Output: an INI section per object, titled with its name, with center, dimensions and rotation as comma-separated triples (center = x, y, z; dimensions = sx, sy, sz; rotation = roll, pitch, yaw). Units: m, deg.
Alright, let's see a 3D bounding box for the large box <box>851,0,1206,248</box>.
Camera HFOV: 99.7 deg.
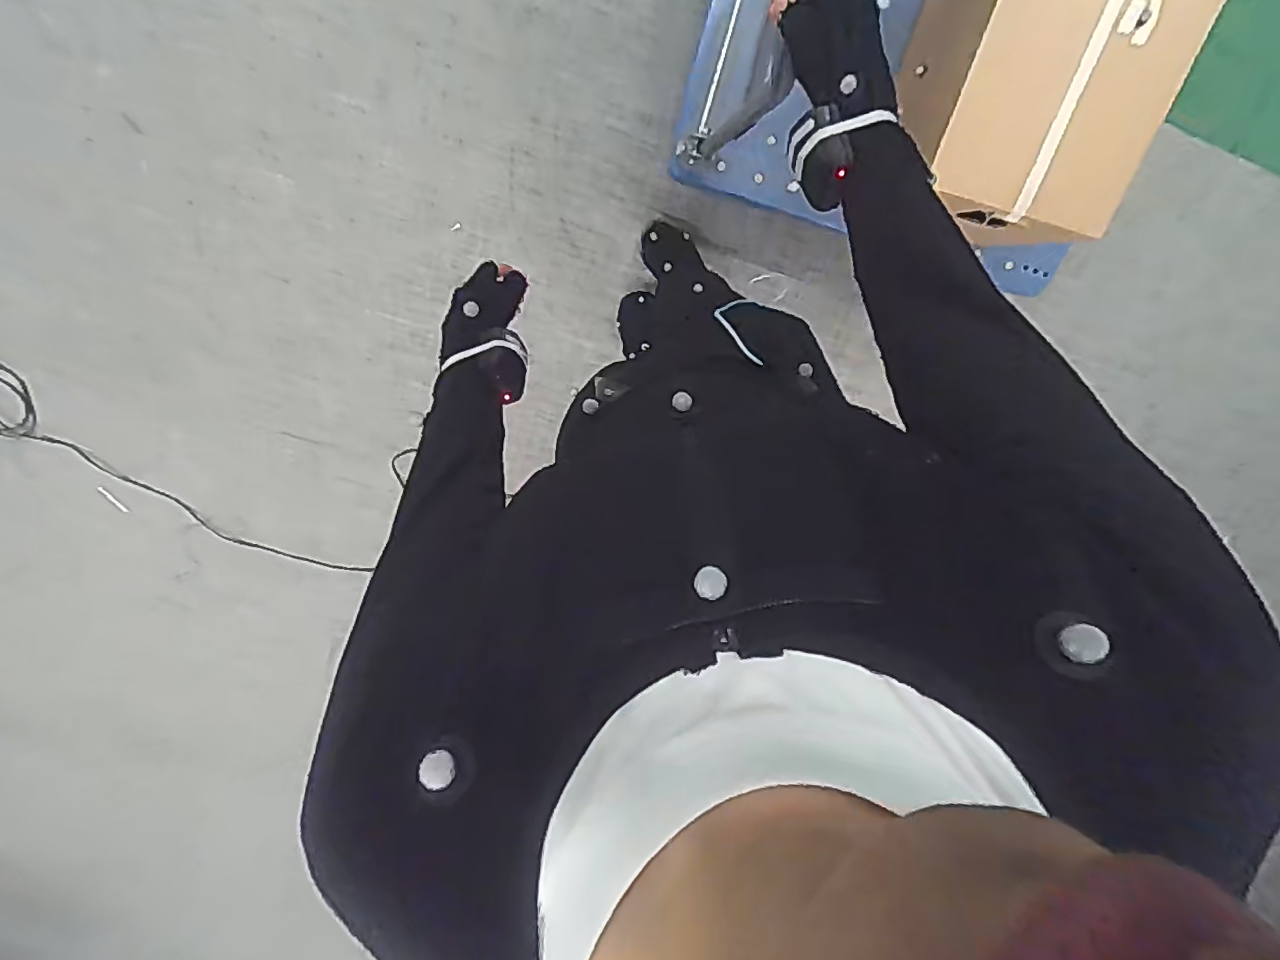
[large box]
center = 0.627, -0.655, 0.933
dimensions = 0.320, 0.320, 0.408
rotation = 13, 109, -6
